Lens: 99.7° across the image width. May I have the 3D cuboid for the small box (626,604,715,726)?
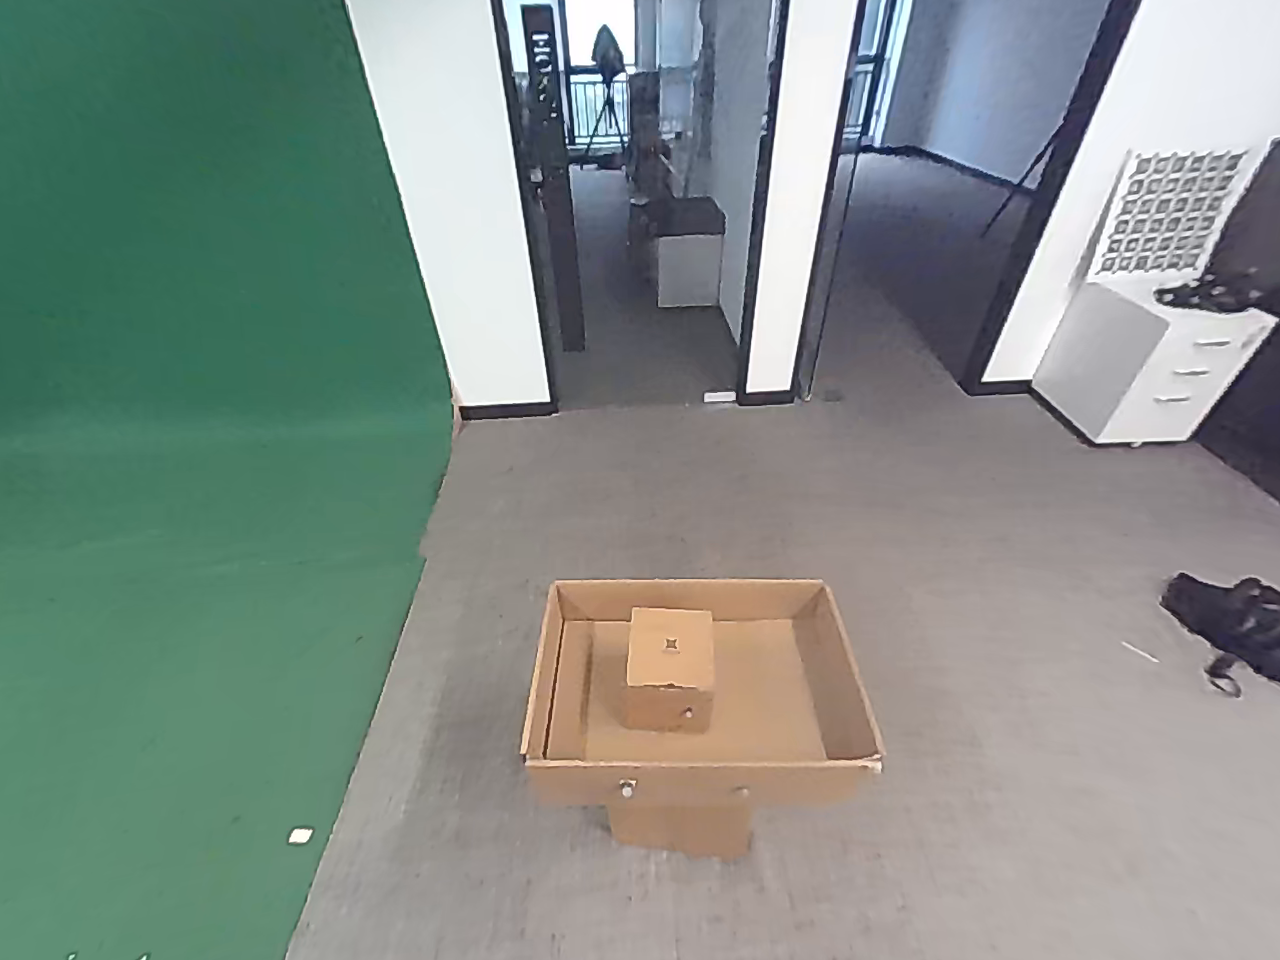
[{"bbox_3d":[0.059,0.375,1.094,0.168,0.176,0.179,3,38,1],"label":"small box"}]
